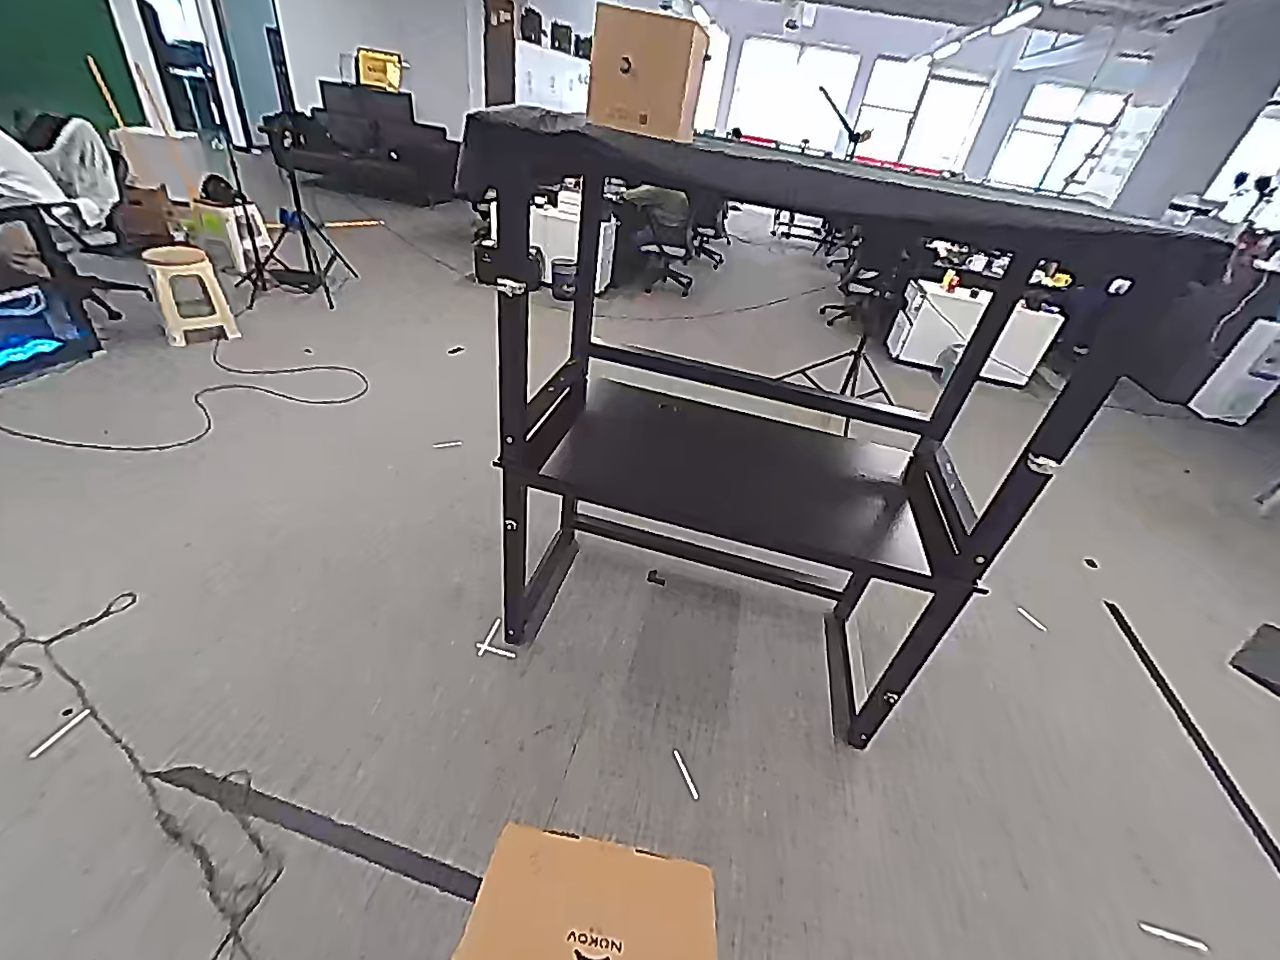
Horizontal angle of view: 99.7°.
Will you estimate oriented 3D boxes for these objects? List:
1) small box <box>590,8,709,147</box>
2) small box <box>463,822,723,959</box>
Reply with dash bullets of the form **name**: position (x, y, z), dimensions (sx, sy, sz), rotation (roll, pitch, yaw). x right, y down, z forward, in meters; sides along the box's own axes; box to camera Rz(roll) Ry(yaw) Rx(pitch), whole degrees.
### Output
- **small box**: position (0.014, -0.701, 0.960), dimensions (0.168, 0.176, 0.179), rotation (16, 33, 6)
- **small box**: position (-0.042, 0.377, 0.354), dimensions (0.168, 0.176, 0.179), rotation (11, 15, 1)
